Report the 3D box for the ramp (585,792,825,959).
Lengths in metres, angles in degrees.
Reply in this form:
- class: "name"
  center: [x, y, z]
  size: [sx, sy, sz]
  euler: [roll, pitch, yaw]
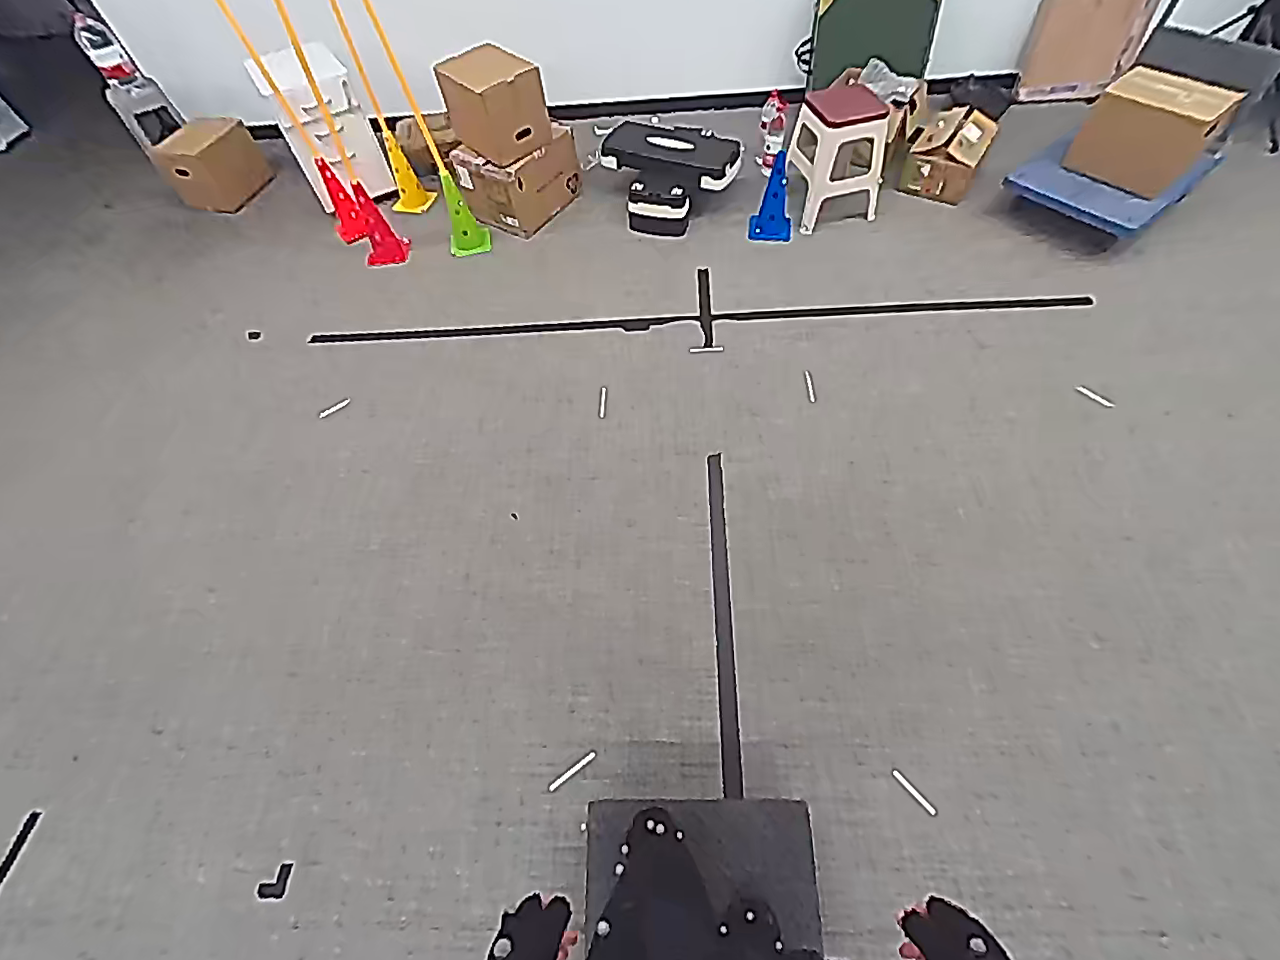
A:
- class: "ramp"
  center: [0.134, 1.162, 1.023]
  size: [0.509, 0.206, 0.991]
  euler: [-3, 57, 1]
